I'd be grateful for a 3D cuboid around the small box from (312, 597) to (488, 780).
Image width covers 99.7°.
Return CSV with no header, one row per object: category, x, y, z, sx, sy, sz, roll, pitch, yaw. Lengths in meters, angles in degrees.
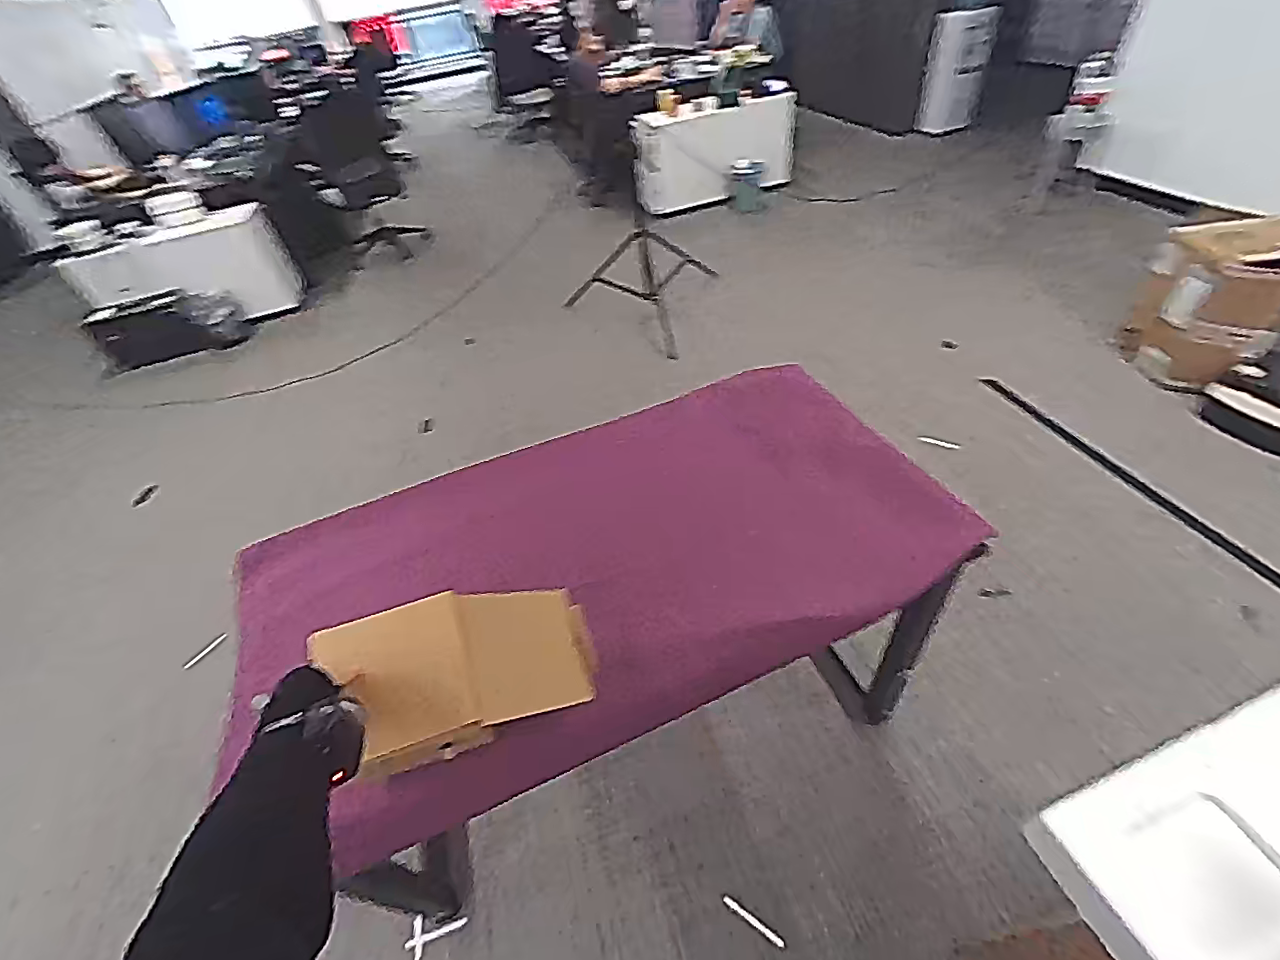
small box,-0.303,0.277,0.713,0.179,0.176,0.168,-13,60,-15
